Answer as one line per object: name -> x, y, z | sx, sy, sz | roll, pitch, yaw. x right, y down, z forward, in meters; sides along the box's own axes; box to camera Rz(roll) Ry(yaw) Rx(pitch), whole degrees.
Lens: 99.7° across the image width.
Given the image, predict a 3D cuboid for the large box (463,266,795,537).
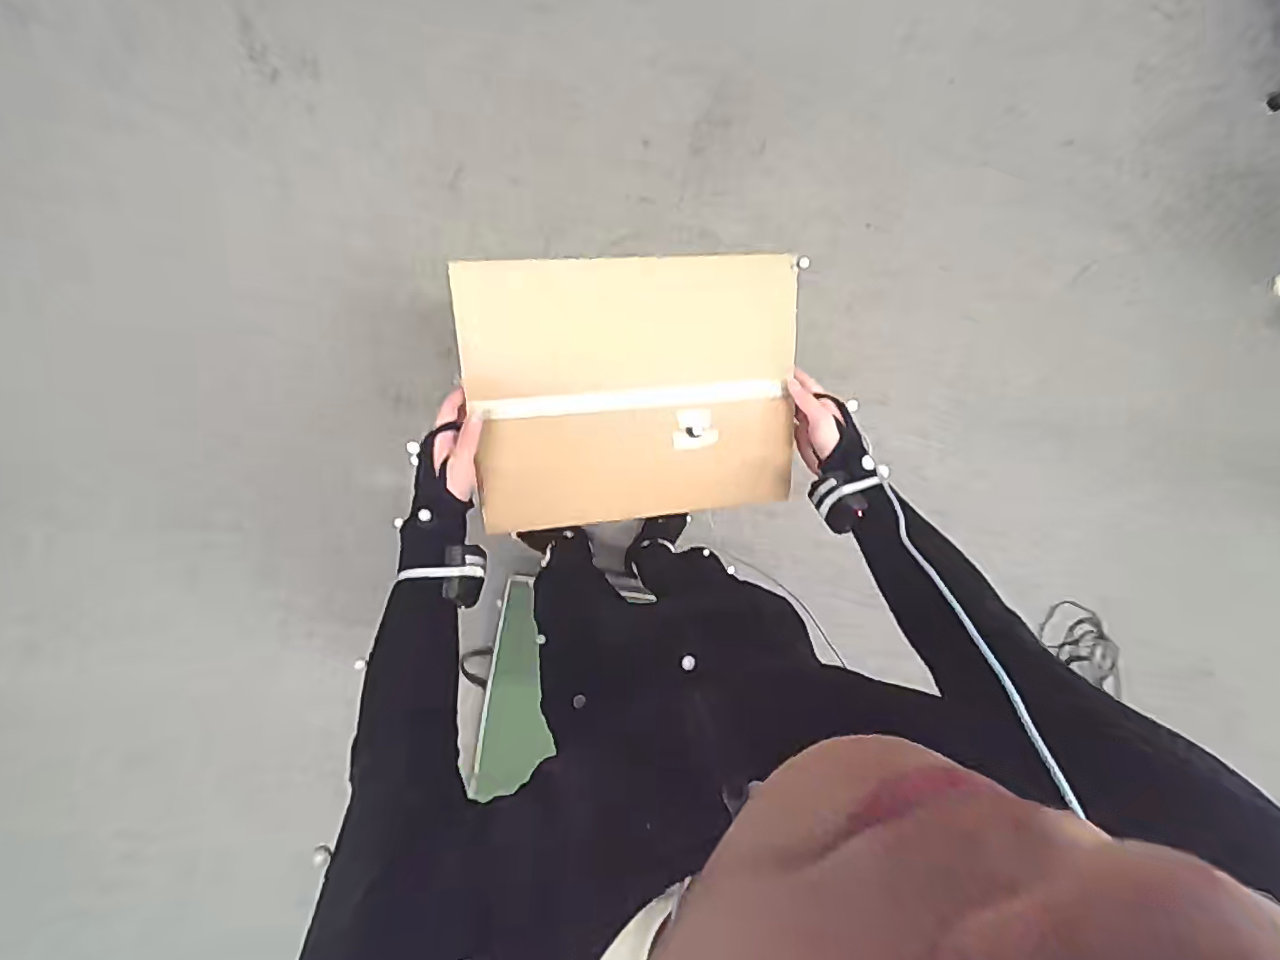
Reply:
large box -> -0.029, -0.131, 0.806 | 0.408, 0.320, 0.320 | -5, 106, -12
